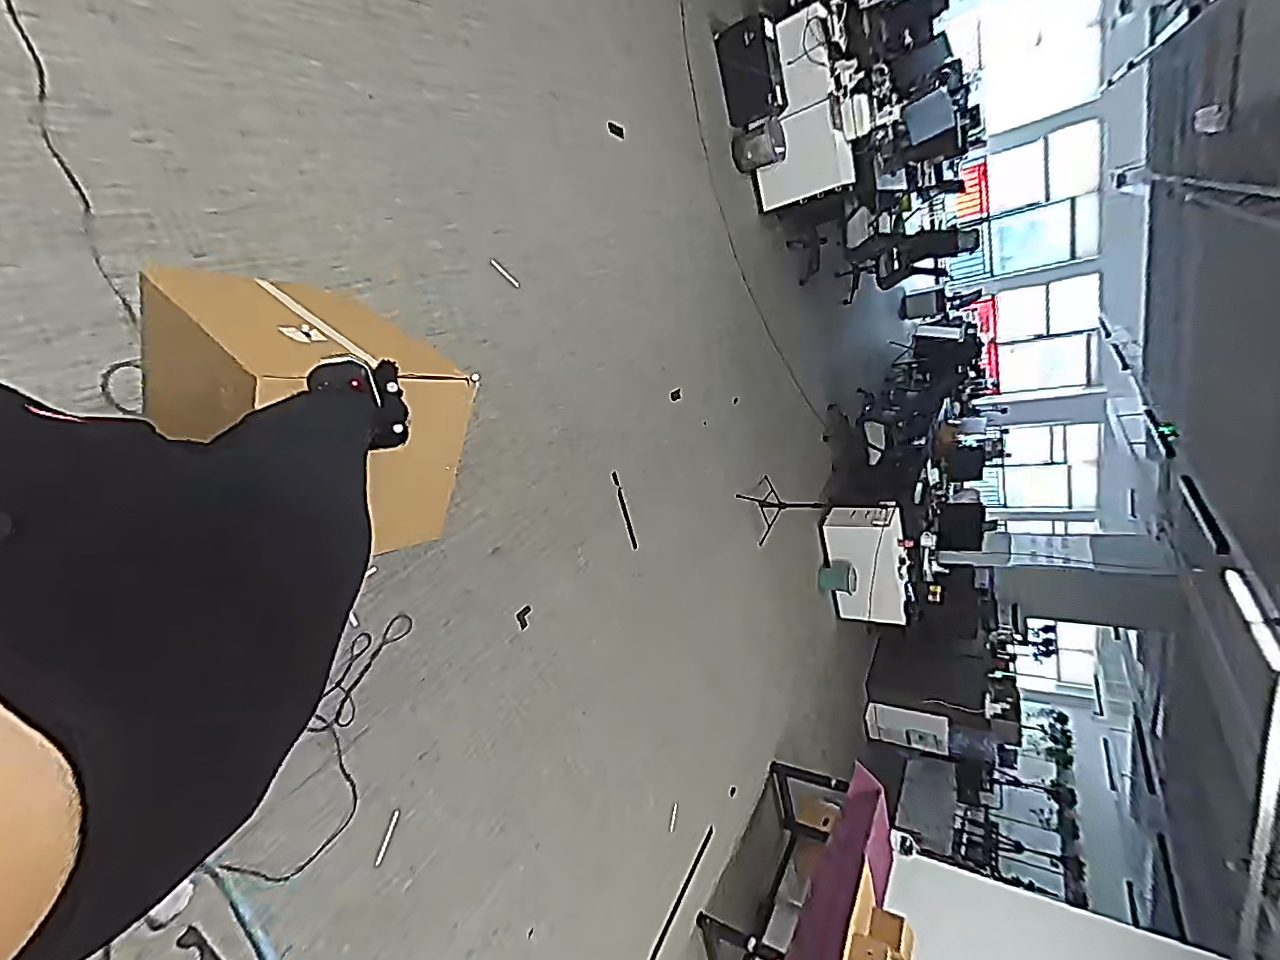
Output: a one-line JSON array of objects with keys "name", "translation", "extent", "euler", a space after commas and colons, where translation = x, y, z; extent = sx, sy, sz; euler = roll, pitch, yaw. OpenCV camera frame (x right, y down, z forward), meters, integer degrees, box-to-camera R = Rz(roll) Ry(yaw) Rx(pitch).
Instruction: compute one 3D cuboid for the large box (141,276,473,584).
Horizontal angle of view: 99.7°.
[{"name": "large box", "translation": [-0.558, -0.096, 0.898], "extent": [0.320, 0.408, 0.320], "euler": [-15, 132, -55]}]
